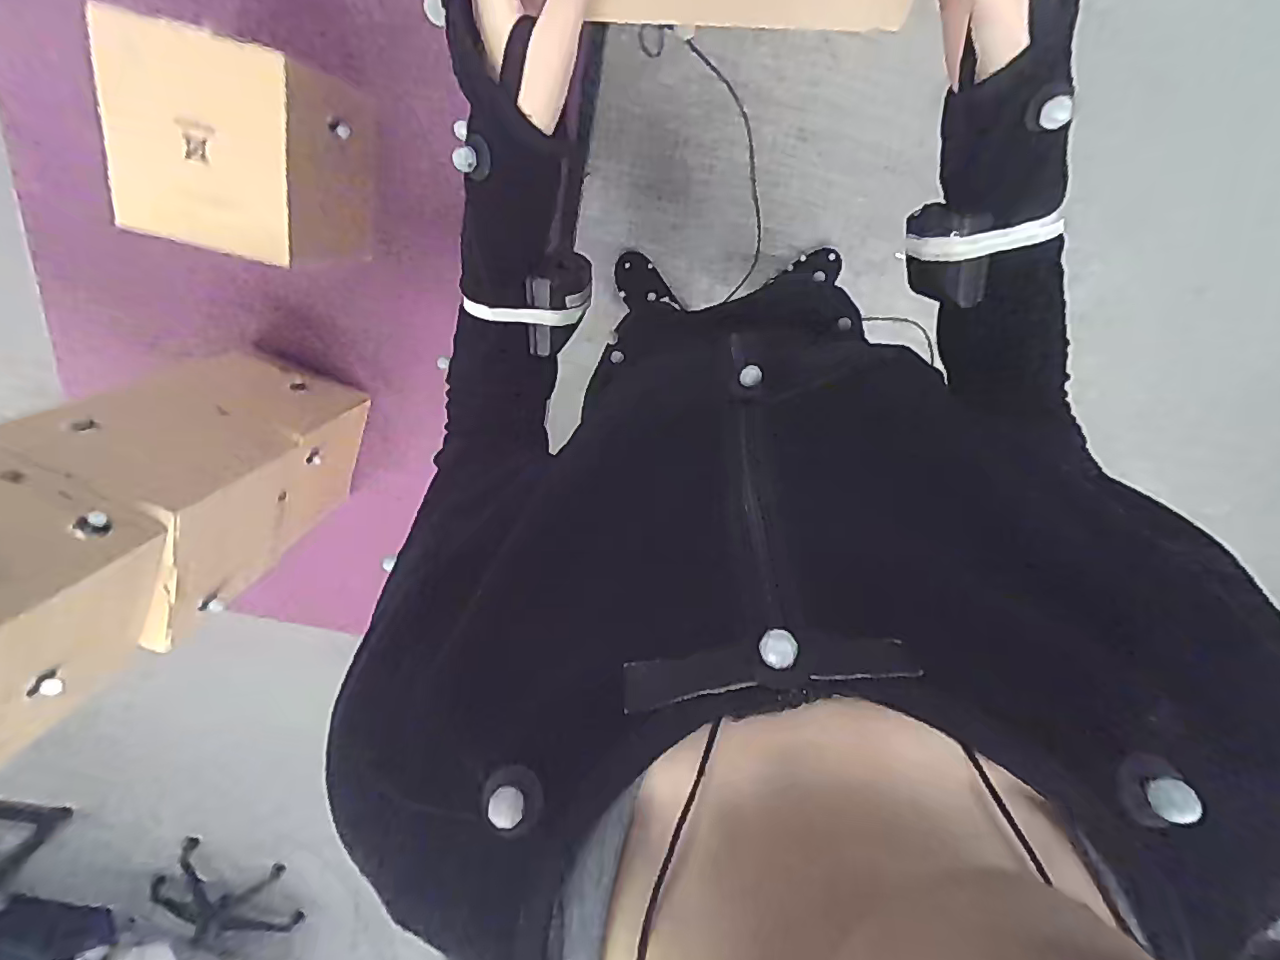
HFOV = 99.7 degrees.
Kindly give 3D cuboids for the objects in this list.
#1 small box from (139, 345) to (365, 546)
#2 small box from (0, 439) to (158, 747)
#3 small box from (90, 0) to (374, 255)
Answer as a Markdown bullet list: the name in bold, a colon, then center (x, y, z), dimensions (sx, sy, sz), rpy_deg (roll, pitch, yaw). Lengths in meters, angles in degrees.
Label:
- **small box**: center (-0.483, -0.052, 0.692), dimensions (0.168, 0.176, 0.179), rpy_deg (22, 112, -7)
- **small box**: center (-0.511, 0.086, 0.394), dimensions (0.168, 0.176, 0.179), rpy_deg (29, 111, -9)
- **small box**: center (-0.398, -0.346, 0.562), dimensions (0.168, 0.176, 0.179), rpy_deg (14, 113, -3)
